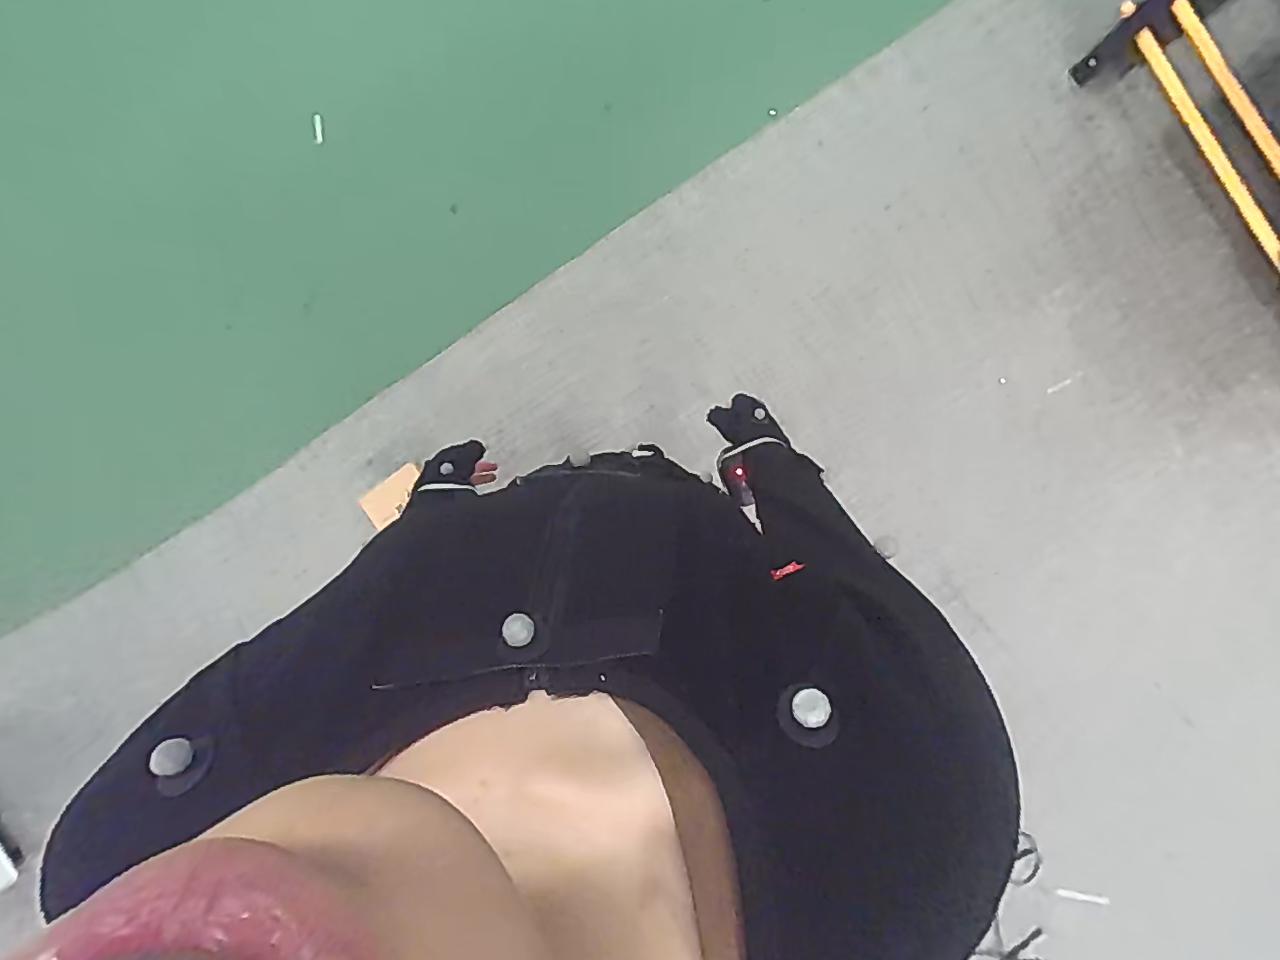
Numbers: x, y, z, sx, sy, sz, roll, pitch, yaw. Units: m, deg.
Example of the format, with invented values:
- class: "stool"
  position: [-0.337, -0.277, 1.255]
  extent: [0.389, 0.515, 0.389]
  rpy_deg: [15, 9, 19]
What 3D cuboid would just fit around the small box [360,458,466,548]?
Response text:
- class: "small box"
  position: [-0.585, 0.053, 1.430]
  extent: [0.179, 0.176, 0.168]
  rpy_deg: [-35, 90, 4]
